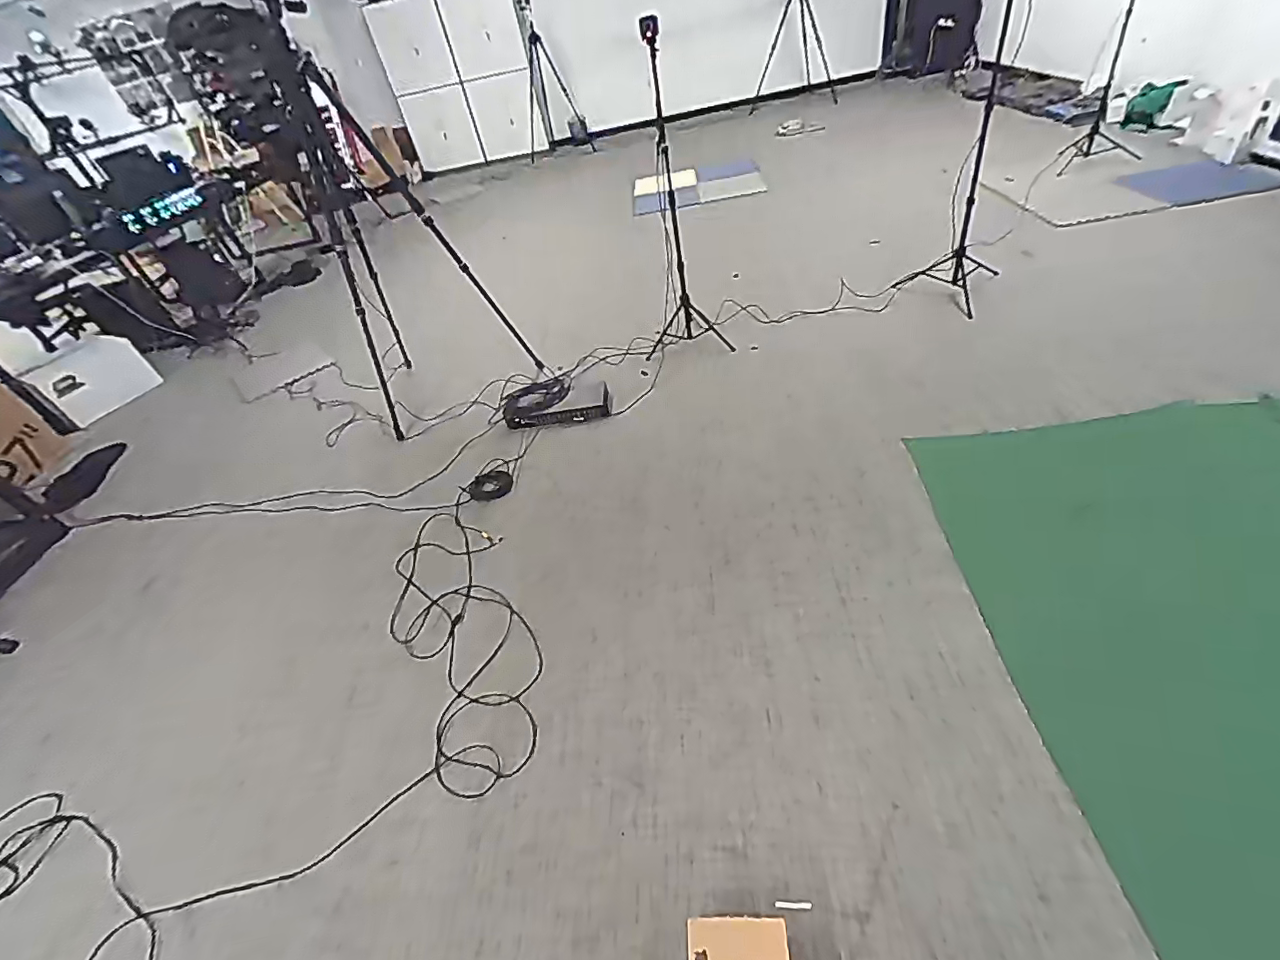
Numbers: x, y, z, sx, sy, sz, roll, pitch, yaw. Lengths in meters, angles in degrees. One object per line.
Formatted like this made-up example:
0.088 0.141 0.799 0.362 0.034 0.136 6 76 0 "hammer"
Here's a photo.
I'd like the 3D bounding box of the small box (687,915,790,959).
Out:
0.179 0.891 0.961 0.179 0.176 0.168 -6 43 8 "small box"
